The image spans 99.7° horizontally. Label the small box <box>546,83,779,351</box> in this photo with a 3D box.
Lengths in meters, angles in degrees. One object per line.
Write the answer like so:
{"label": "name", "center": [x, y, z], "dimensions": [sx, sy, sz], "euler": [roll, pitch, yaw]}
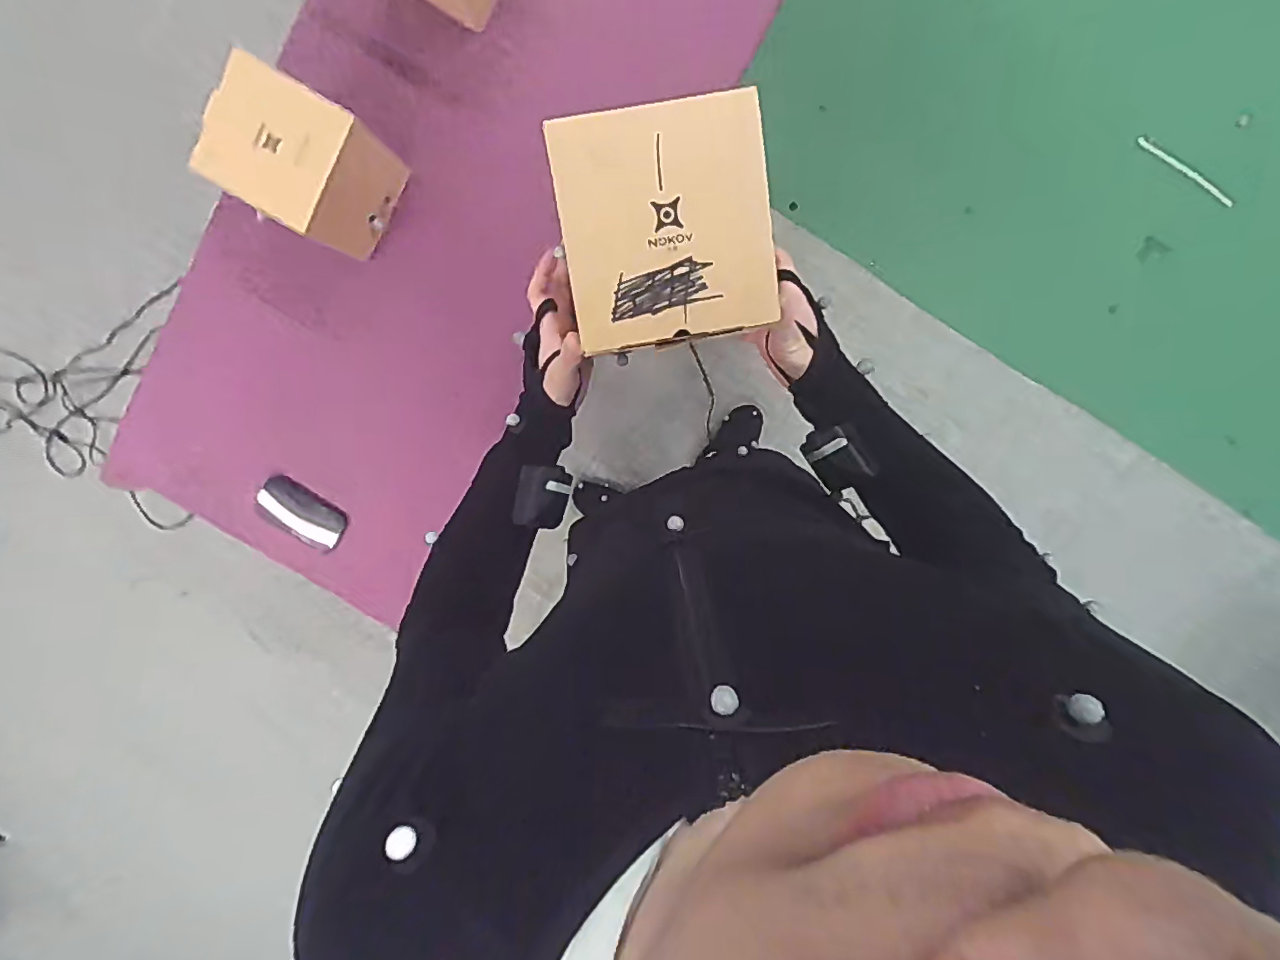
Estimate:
{"label": "small box", "center": [0.021, -0.218, 0.499], "dimensions": [0.168, 0.176, 0.179], "euler": [-9, 102, 1]}

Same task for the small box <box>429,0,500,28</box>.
{"label": "small box", "center": [-0.277, -0.775, 0.728], "dimensions": [0.179, 0.176, 0.168], "euler": [32, 99, -1]}

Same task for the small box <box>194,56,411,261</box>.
{"label": "small box", "center": [-0.476, -0.446, 0.787], "dimensions": [0.179, 0.176, 0.168], "euler": [30, 99, -2]}
